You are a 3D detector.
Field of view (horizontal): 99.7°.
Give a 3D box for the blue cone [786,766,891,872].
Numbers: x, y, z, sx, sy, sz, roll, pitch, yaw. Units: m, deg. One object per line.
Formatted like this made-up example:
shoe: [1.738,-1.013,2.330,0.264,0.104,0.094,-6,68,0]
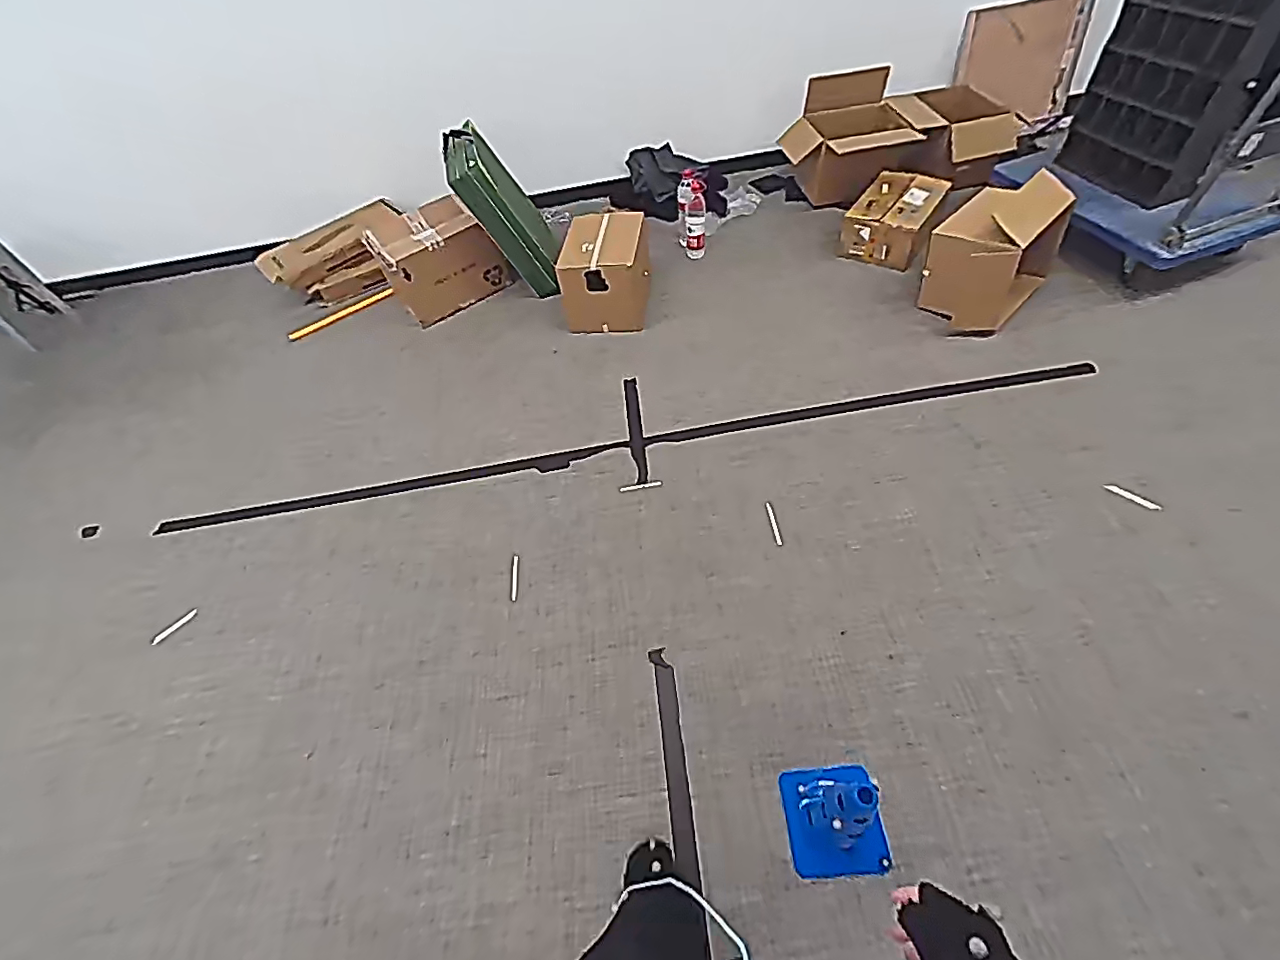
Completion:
blue cone: [0.402,0.630,1.039,0.192,0.380,0.193,-5,52,4]
